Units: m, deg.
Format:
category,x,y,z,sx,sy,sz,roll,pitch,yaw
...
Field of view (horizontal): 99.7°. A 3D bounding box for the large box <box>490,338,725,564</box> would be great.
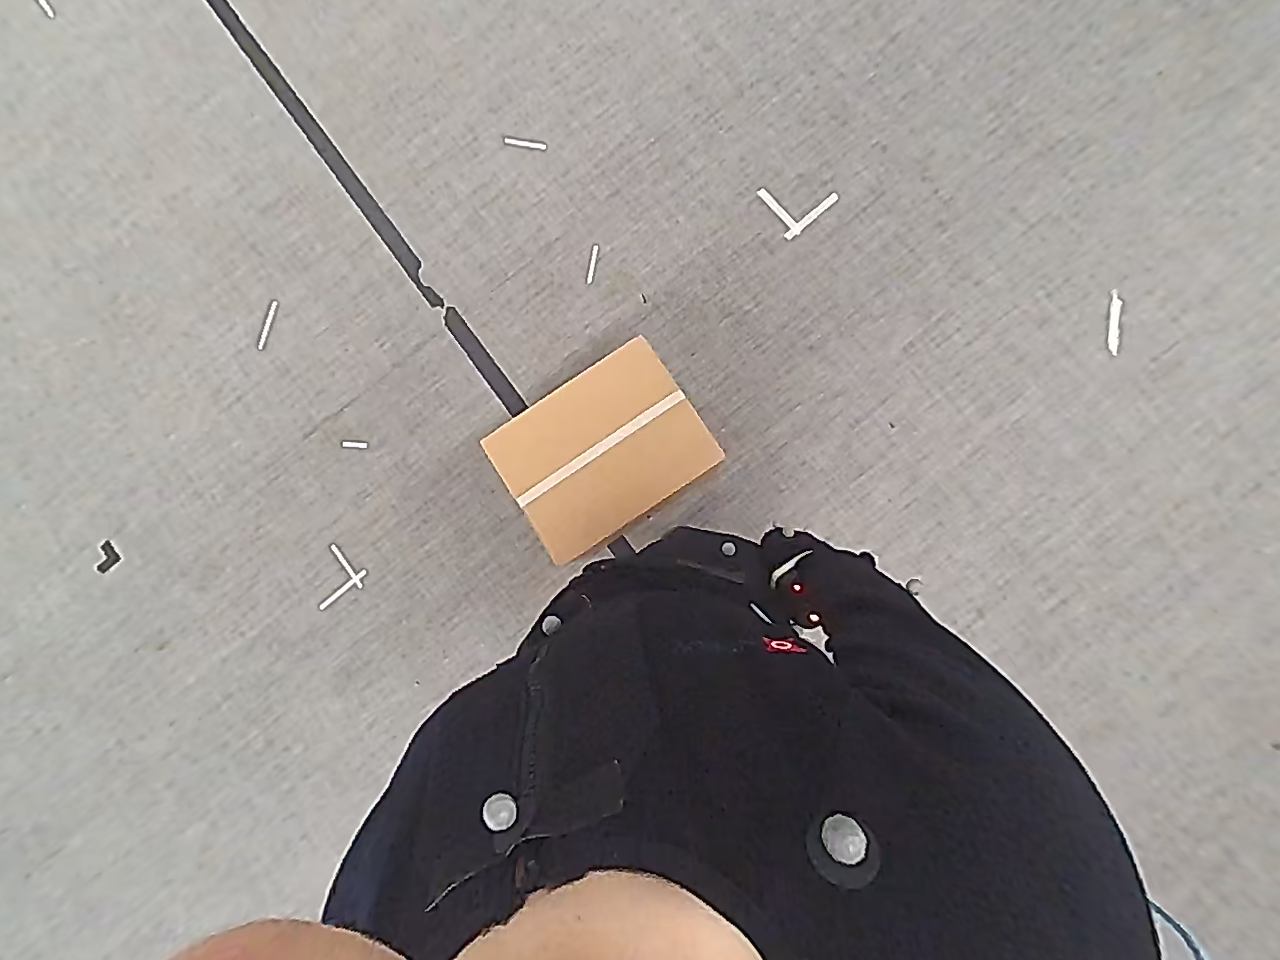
category,x,y,z,sx,sy,sz,roll,pitch,yaw
large box,-0.062,-0.048,1.258,0.408,0.320,0.320,-34,85,0
